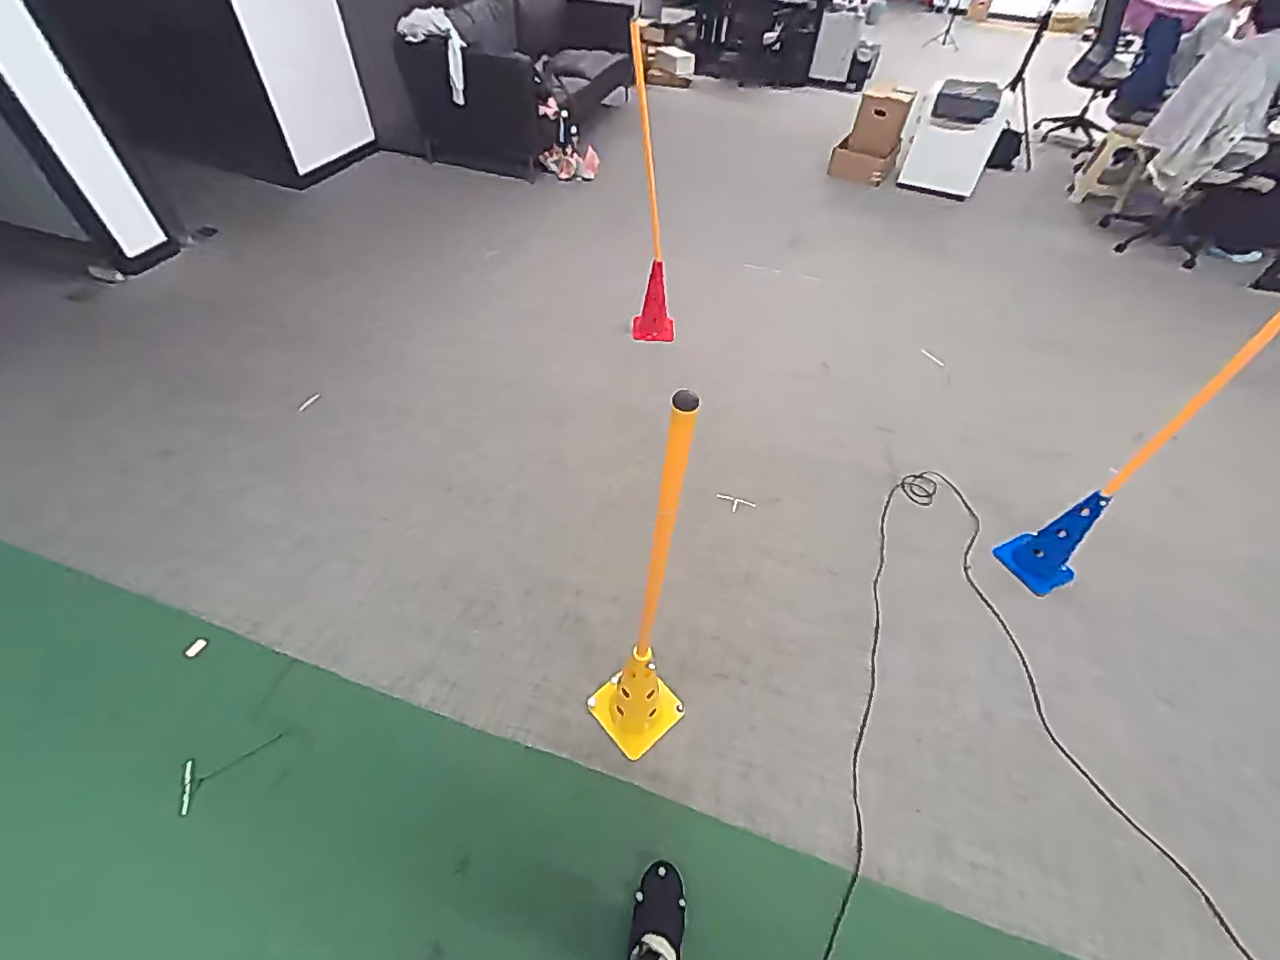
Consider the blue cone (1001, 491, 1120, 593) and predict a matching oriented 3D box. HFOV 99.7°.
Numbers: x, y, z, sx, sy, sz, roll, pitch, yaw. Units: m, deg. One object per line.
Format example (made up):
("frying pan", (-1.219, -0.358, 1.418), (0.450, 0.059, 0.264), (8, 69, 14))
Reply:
("blue cone", (1.349, 0.165, 1.703), (0.193, 0.380, 0.192), (-17, 51, -21))
